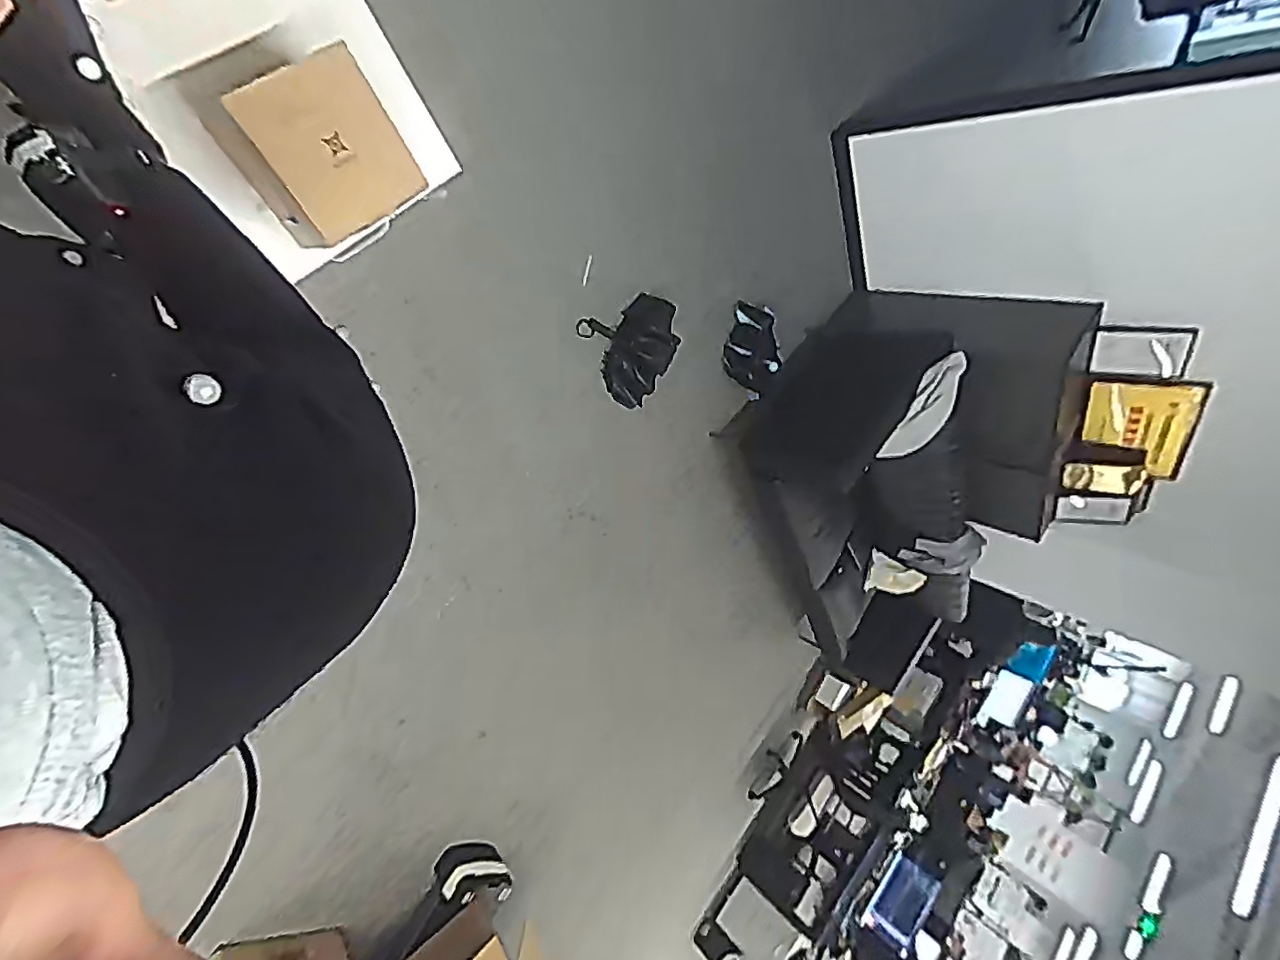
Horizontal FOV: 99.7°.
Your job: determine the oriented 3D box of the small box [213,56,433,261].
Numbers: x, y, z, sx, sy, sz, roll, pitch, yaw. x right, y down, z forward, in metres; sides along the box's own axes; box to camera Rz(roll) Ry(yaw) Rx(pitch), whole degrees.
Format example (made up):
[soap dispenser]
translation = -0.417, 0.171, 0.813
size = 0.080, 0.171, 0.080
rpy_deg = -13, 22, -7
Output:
[small box]
translation = -0.422, -0.417, 0.725
size = 0.168, 0.176, 0.179
rpy_deg = -47, 132, -20
